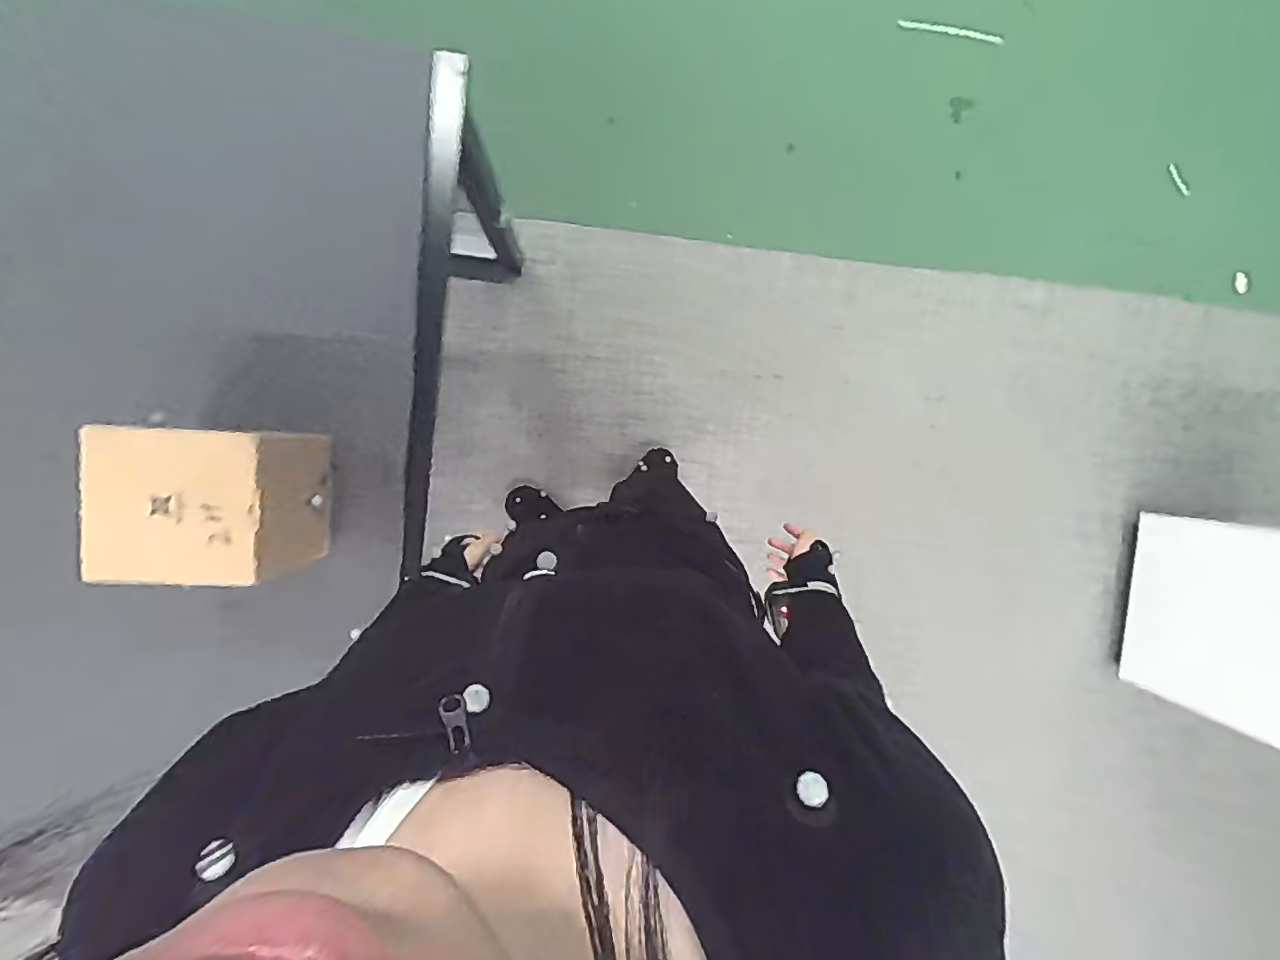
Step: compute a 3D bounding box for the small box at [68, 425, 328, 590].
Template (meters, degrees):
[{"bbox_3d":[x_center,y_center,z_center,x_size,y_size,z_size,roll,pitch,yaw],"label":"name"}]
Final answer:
[{"bbox_3d":[-0.501,0.026,0.636,0.179,0.176,0.168,2,93,-5],"label":"small box"}]
